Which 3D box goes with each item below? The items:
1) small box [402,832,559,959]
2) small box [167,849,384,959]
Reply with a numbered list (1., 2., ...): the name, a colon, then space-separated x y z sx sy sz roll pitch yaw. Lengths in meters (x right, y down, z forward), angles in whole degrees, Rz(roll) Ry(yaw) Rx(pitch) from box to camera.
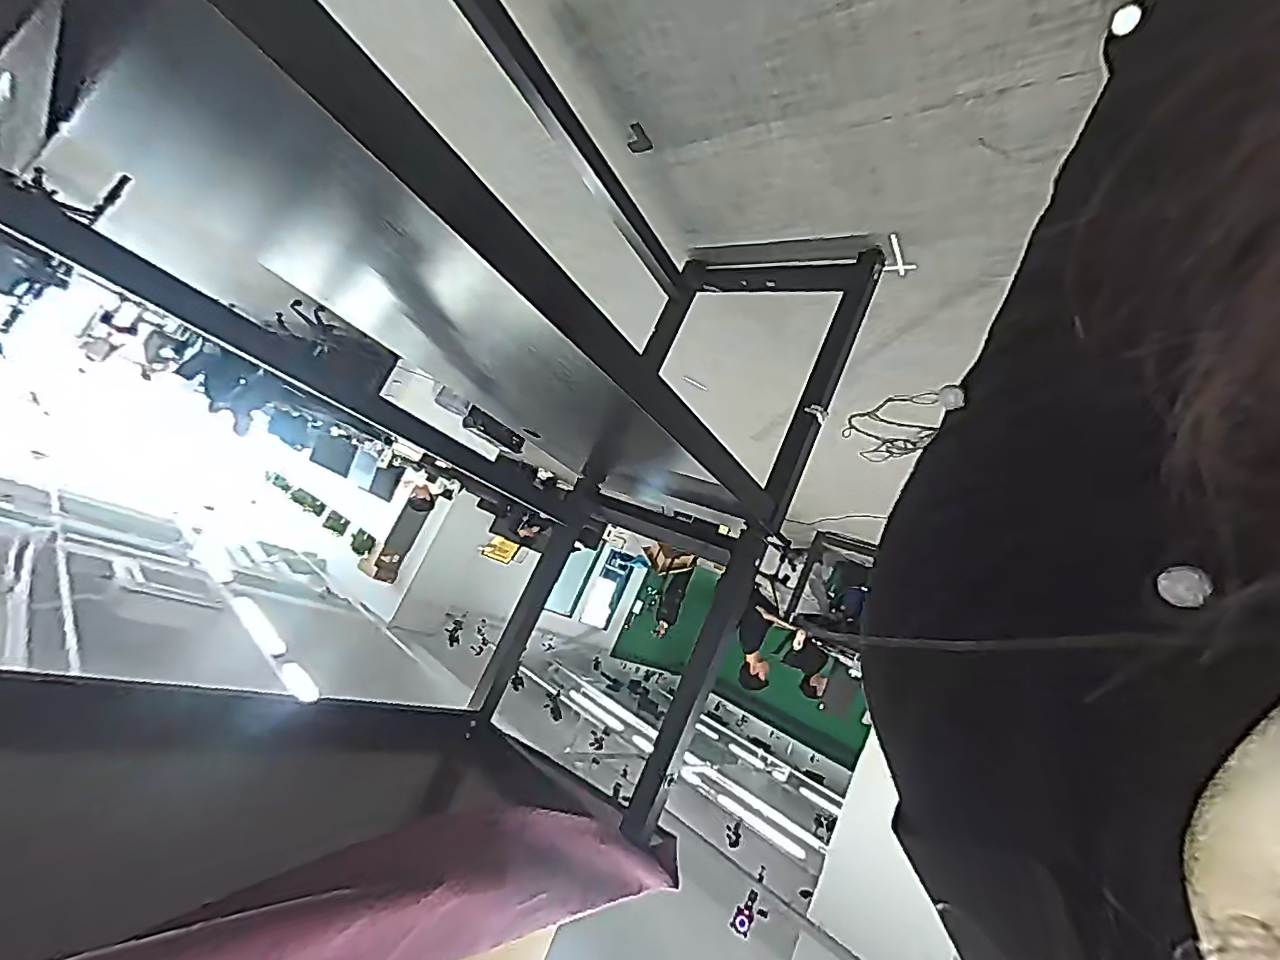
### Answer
1. small box: -0.267 0.735 0.925 0.179 0.176 0.168 15 166 47
2. small box: -0.452 0.594 0.667 0.179 0.176 0.168 15 167 42
